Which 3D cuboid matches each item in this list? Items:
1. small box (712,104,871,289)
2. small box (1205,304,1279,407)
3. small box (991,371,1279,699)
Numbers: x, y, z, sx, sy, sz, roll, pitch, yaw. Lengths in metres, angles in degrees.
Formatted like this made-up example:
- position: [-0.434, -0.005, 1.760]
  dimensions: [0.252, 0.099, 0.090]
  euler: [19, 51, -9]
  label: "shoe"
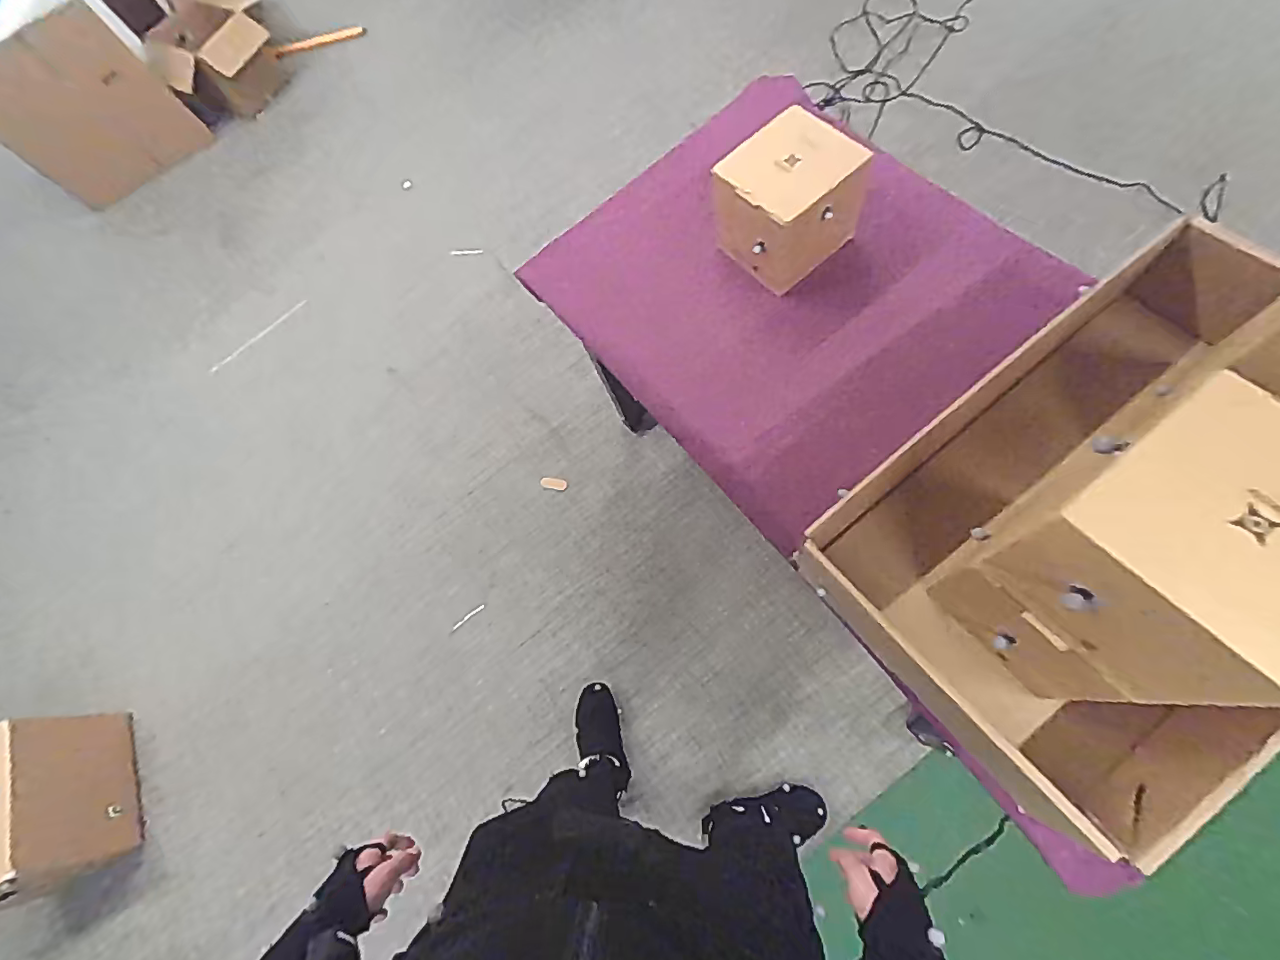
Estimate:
- position: [0.241, -0.453, 0.886]
  dimensions: [0.179, 0.176, 0.168]
  euler: [-39, 69, -4]
  label: "small box"
- position: [0.651, -0.118, 0.447]
  dimensions: [0.179, 0.176, 0.168]
  euler: [-41, 67, -2]
  label: "small box"
- position: [0.426, 0.056, 0.436]
  dimensions: [0.179, 0.176, 0.168]
  euler: [-39, 66, -5]
  label: "small box"
